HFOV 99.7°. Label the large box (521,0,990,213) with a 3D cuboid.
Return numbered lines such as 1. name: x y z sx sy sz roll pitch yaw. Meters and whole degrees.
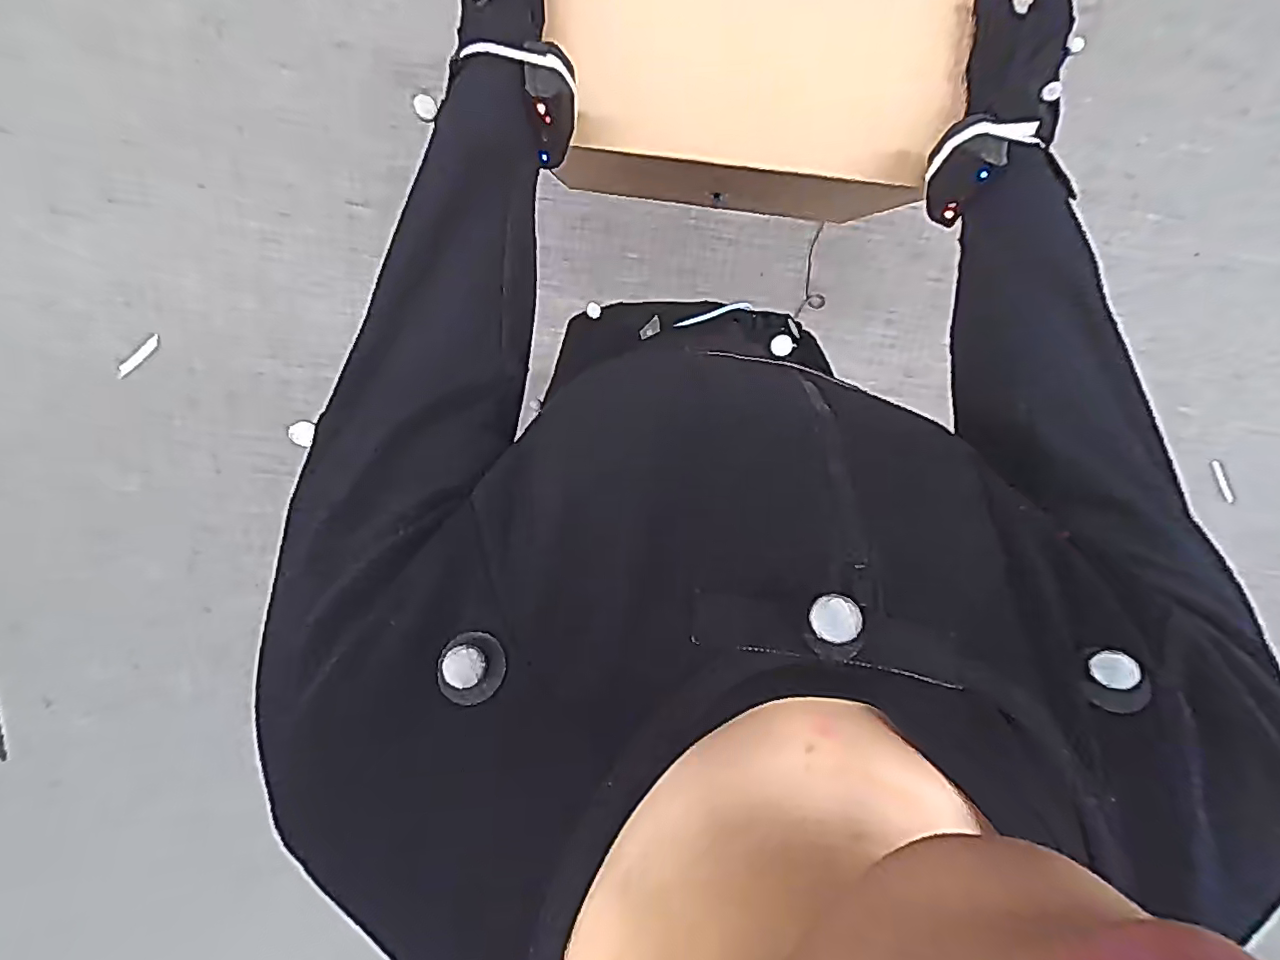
1. large box: 0.107 -0.490 0.588 0.408 0.320 0.320 7 110 -1
